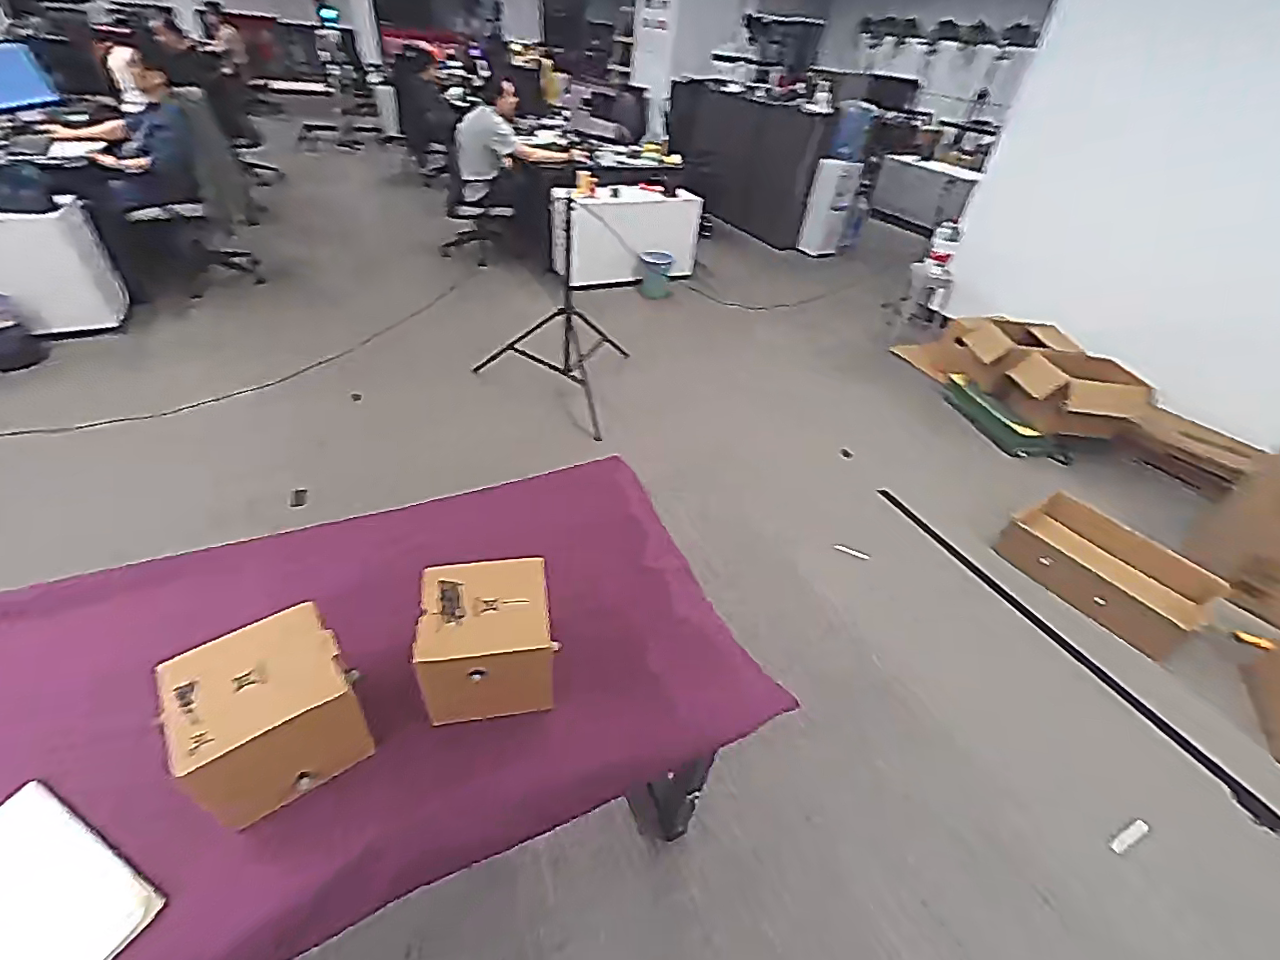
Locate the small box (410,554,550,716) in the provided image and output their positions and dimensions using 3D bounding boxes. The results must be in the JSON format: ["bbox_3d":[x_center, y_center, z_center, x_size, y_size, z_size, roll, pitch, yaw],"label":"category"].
[{"bbox_3d":[-0.232,0.235,0.819,0.179,0.176,0.168,-3,39,-12],"label":"small box"}]

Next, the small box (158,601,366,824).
[{"bbox_3d":[-0.481,0.300,0.710,0.179,0.176,0.168,-23,47,-32],"label":"small box"}]
